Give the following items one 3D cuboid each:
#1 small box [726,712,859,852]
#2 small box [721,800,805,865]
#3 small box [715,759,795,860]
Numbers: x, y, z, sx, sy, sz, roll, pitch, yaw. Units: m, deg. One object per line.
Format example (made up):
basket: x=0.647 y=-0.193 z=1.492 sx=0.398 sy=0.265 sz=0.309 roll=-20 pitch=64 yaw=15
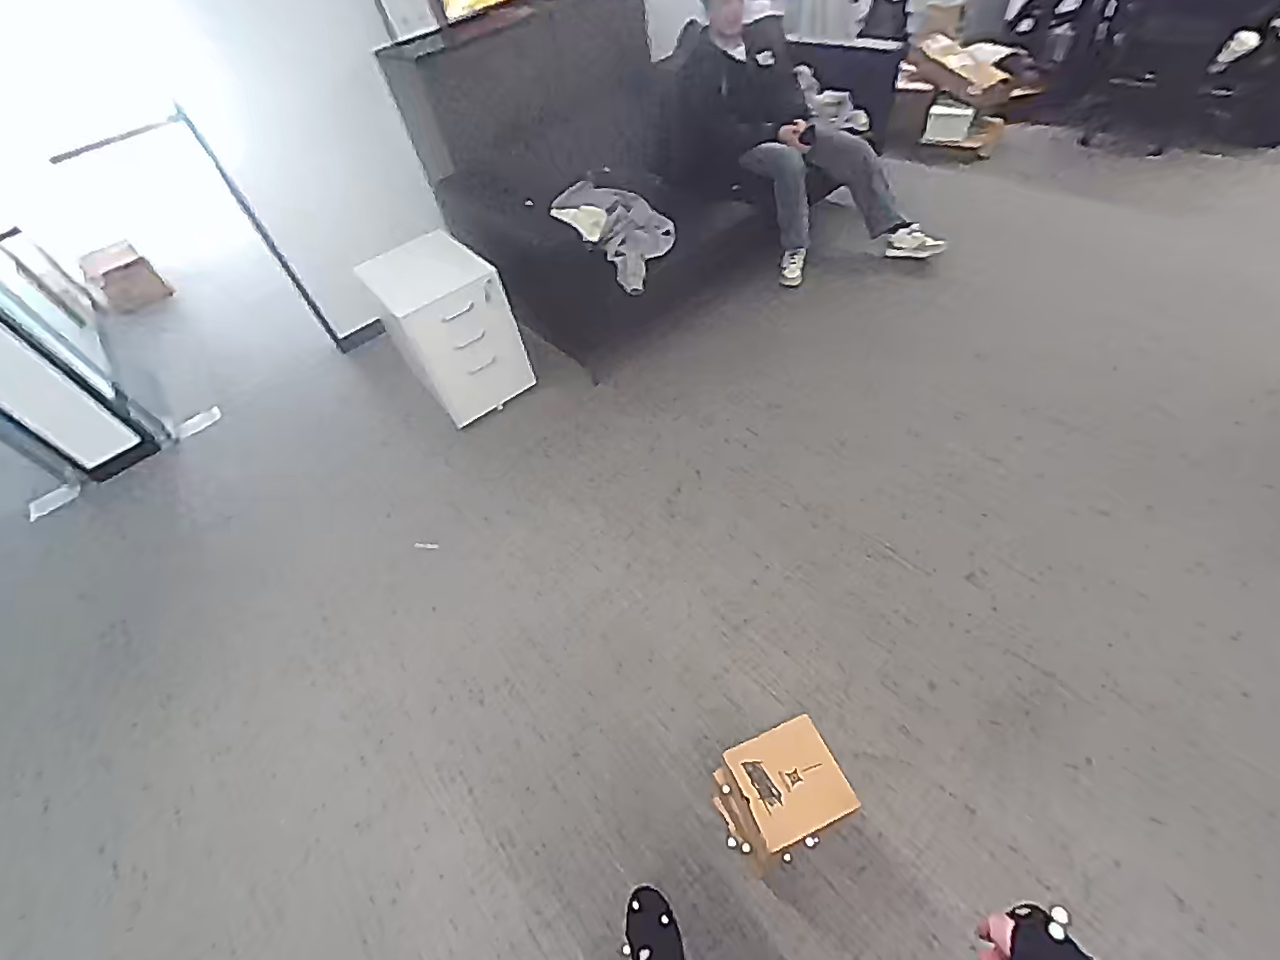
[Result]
small box: x=0.272 y=0.562 z=0.998 sx=0.179 sy=0.176 sz=0.168 roll=-18 pitch=51 yaw=-6
small box: x=0.302 y=0.756 z=1.252 sx=0.179 sy=0.176 sz=0.168 roll=15 pitch=53 yaw=25
small box: x=0.276 y=0.662 z=1.132 sx=0.168 sy=0.176 sz=0.179 roll=-26 pitch=49 yaw=-13
